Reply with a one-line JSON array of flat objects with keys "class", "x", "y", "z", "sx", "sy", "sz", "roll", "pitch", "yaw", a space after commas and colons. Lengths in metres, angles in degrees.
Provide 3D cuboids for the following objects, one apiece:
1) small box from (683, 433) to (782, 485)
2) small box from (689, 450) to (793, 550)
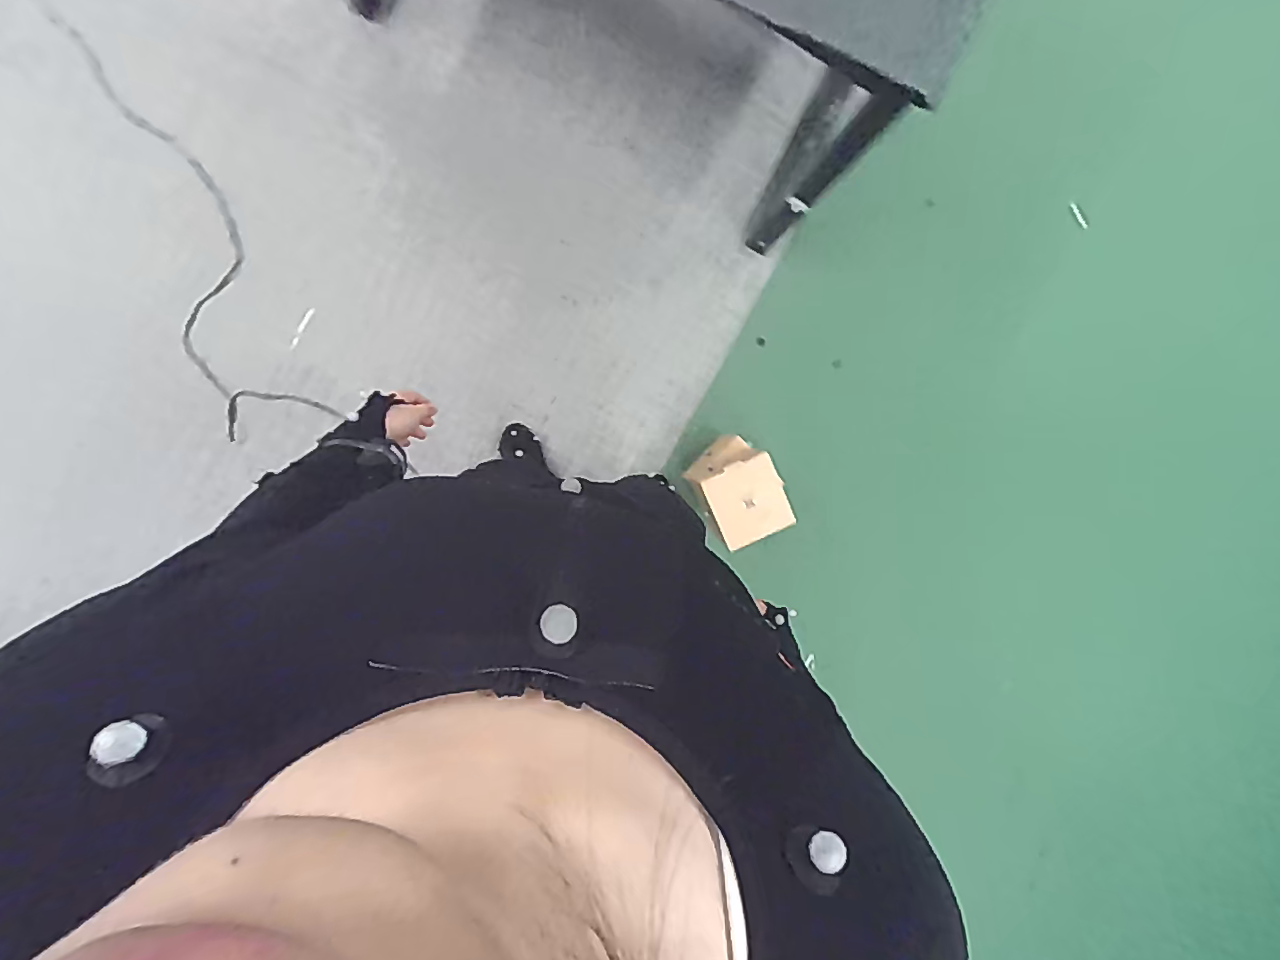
[{"class": "small box", "x": 0.233, "y": -0.006, "z": 1.423, "sx": 0.168, "sy": 0.176, "sz": 0.179, "roll": -45, "pitch": 98, "yaw": 2}, {"class": "small box", "x": 0.226, "y": 0.037, "z": 1.262, "sx": 0.168, "sy": 0.176, "sz": 0.179, "roll": -24, "pitch": 99, "yaw": -1}]
